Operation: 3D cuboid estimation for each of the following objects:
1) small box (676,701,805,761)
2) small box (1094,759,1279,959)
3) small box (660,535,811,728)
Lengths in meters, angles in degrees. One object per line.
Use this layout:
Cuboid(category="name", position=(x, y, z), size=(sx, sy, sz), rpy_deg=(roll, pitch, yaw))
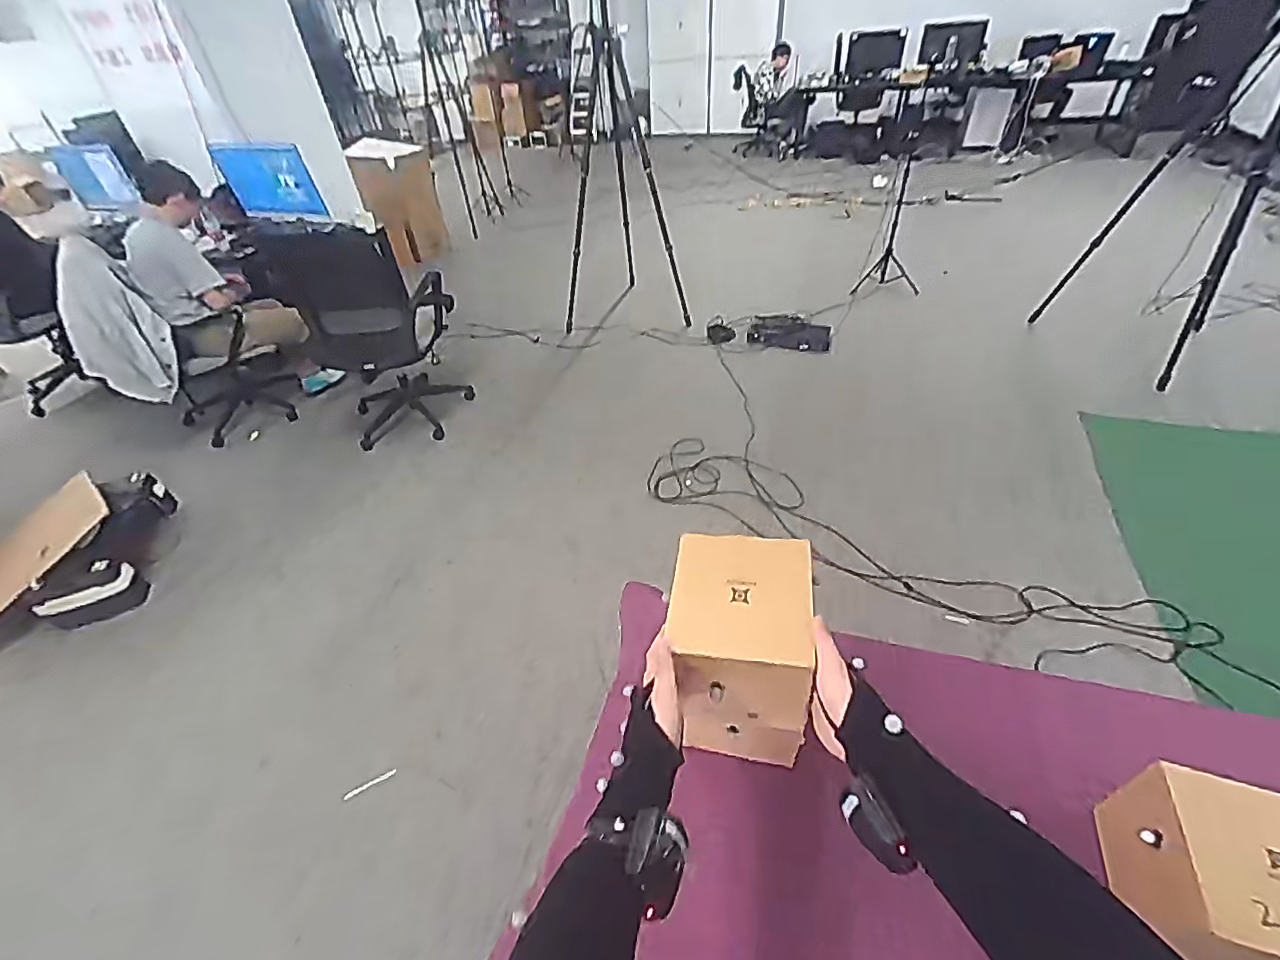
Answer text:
Cuboid(category="small box", position=(0.157, 0.312, 0.840), size=(0.179, 0.176, 0.168), rpy_deg=(6, 42, 13))
Cuboid(category="small box", position=(0.664, 0.464, 0.617), size=(0.168, 0.176, 0.179), rpy_deg=(11, 44, 19))
Cuboid(category="small box", position=(0.127, 0.193, 0.690), size=(0.168, 0.176, 0.179), rpy_deg=(2, 44, 12))
